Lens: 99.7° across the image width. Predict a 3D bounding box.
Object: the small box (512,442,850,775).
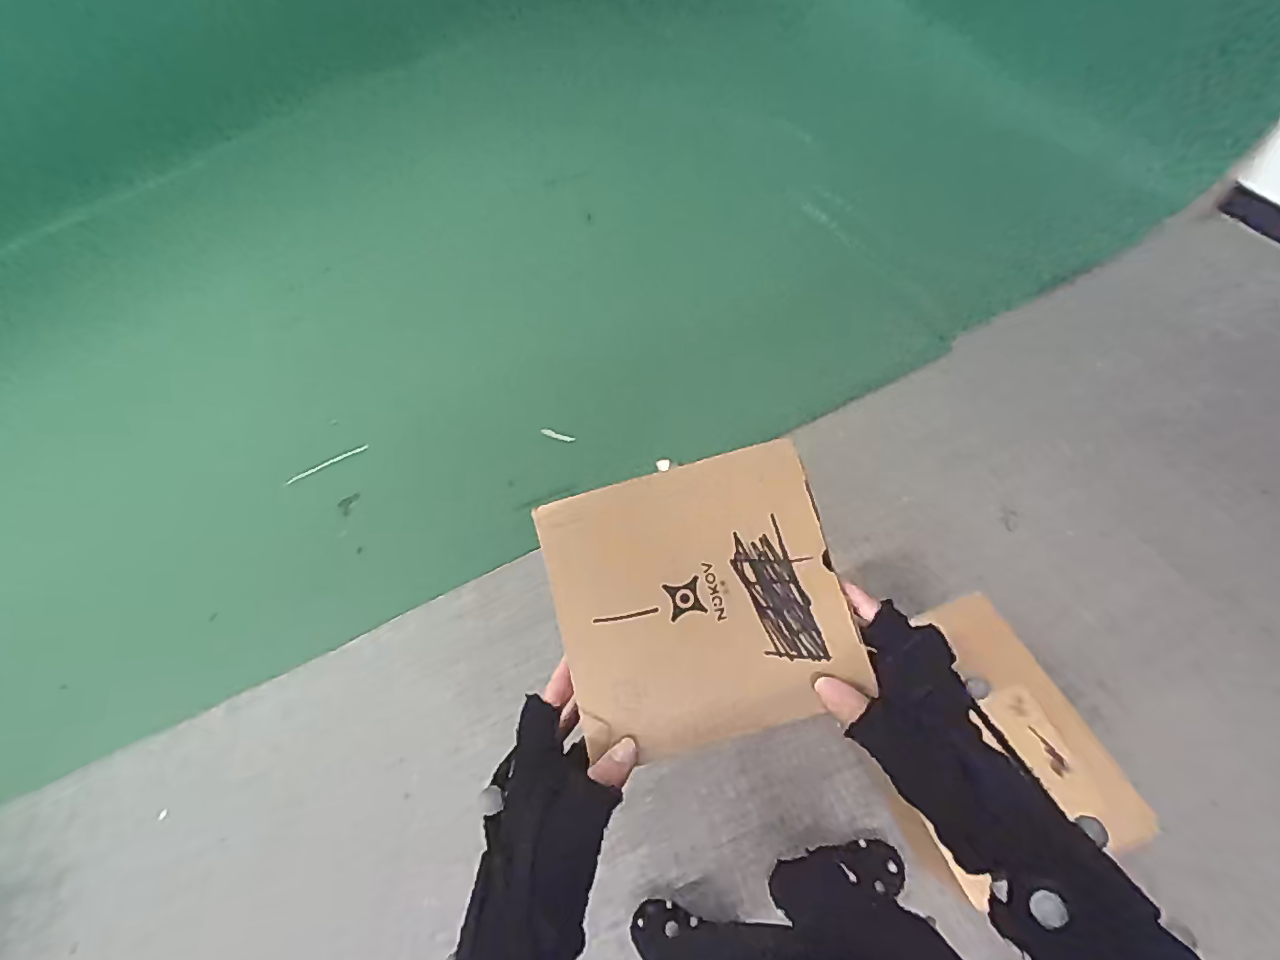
[{"bbox_3d":[0.025,0.089,0.411,0.179,0.176,0.168,-17,77,0],"label":"small box"}]
